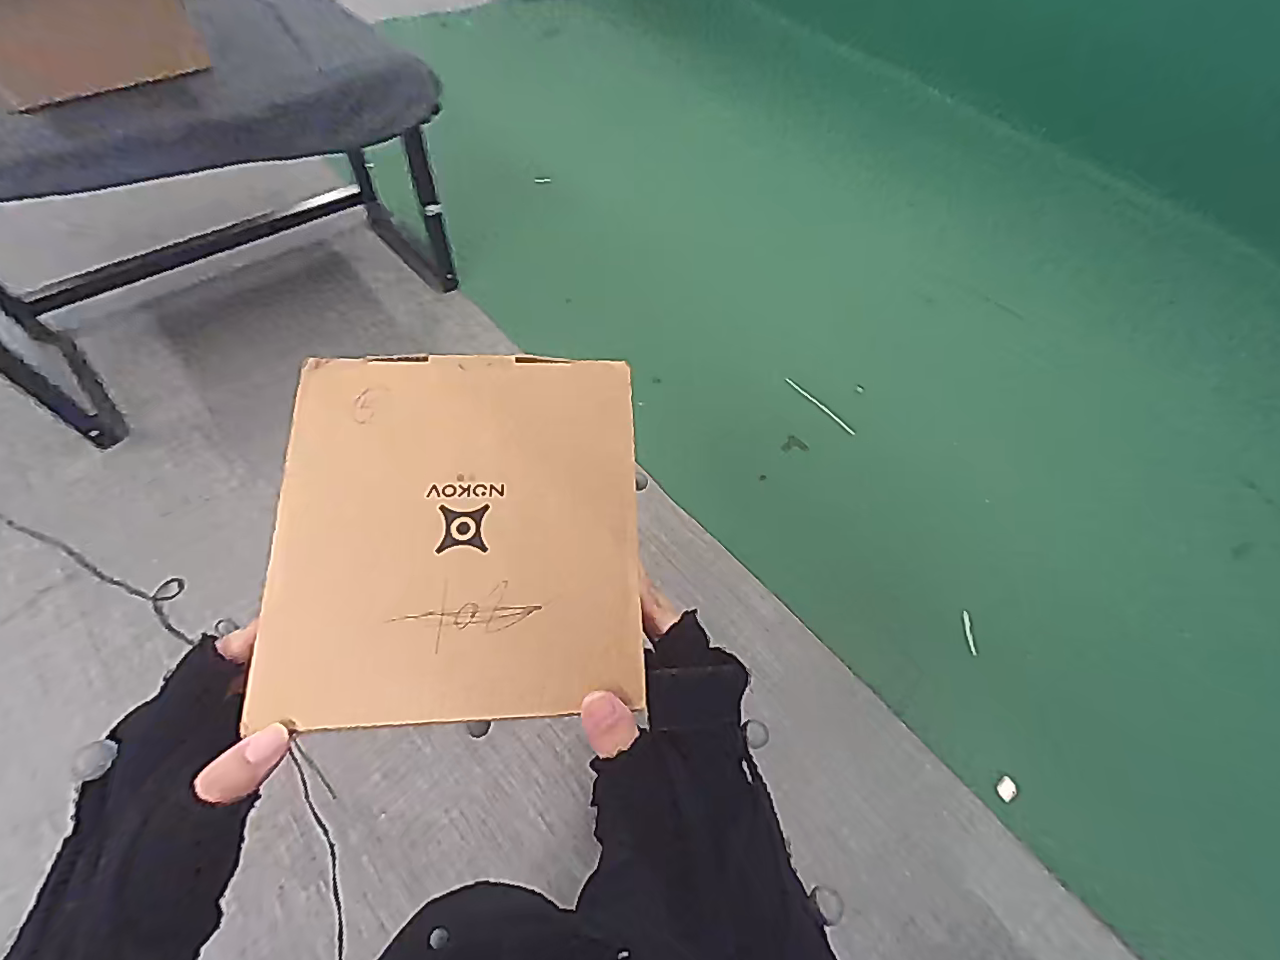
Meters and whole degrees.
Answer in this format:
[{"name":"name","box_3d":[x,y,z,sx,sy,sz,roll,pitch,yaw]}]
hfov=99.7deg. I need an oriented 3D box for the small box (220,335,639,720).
[{"name":"small box","box_3d":[-0.094,0.036,0.319,0.168,0.176,0.179,-2,71,-7]}]
